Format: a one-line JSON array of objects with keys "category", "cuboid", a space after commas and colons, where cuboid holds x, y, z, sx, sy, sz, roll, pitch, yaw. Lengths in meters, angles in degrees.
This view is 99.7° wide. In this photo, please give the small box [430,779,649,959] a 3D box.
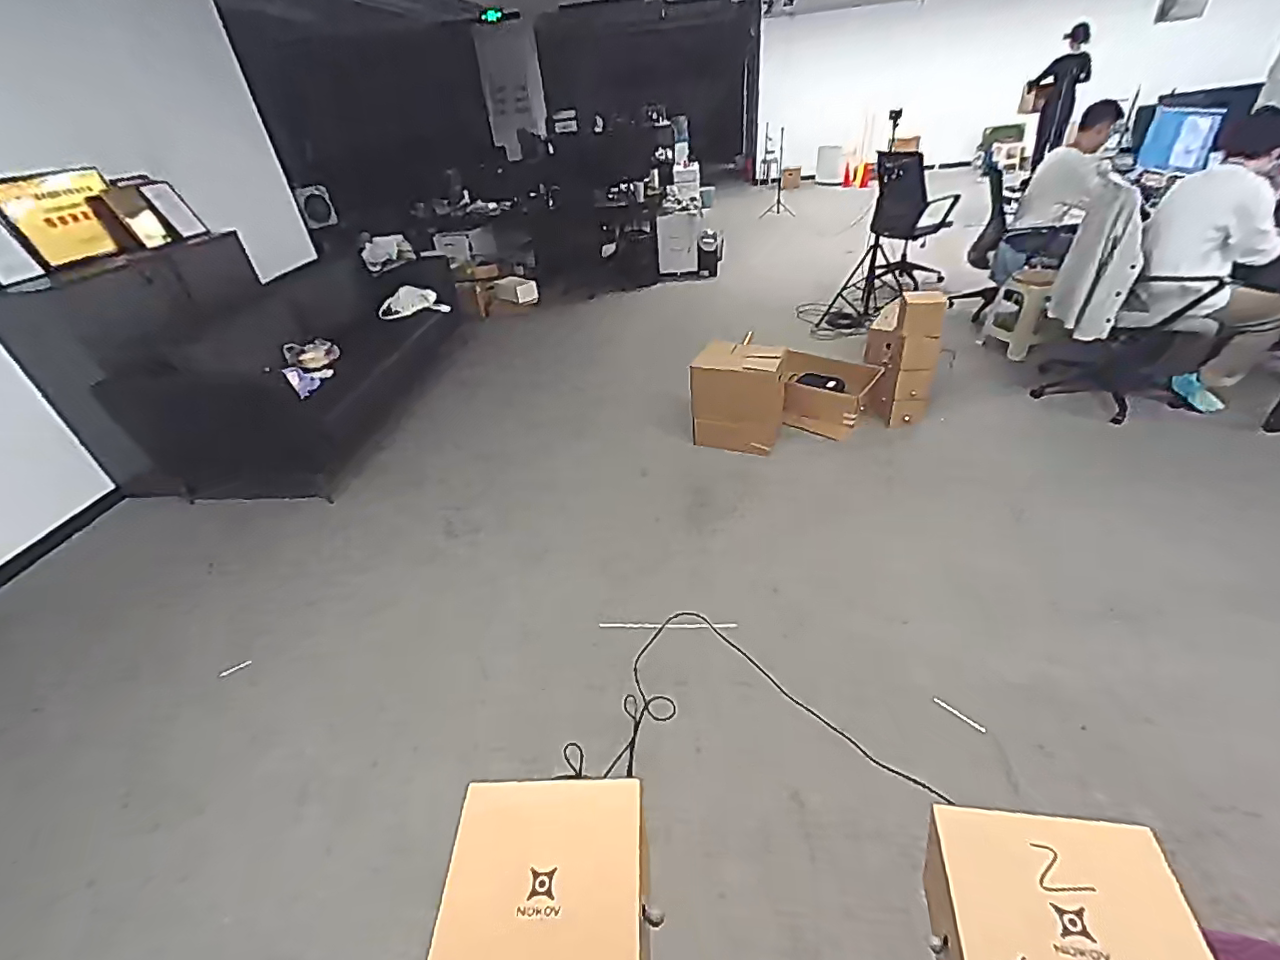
[{"category": "small box", "cuboid": [-0.079, 0.407, 0.504, 0.168, 0.176, 0.179, -2, 39, 2]}]
